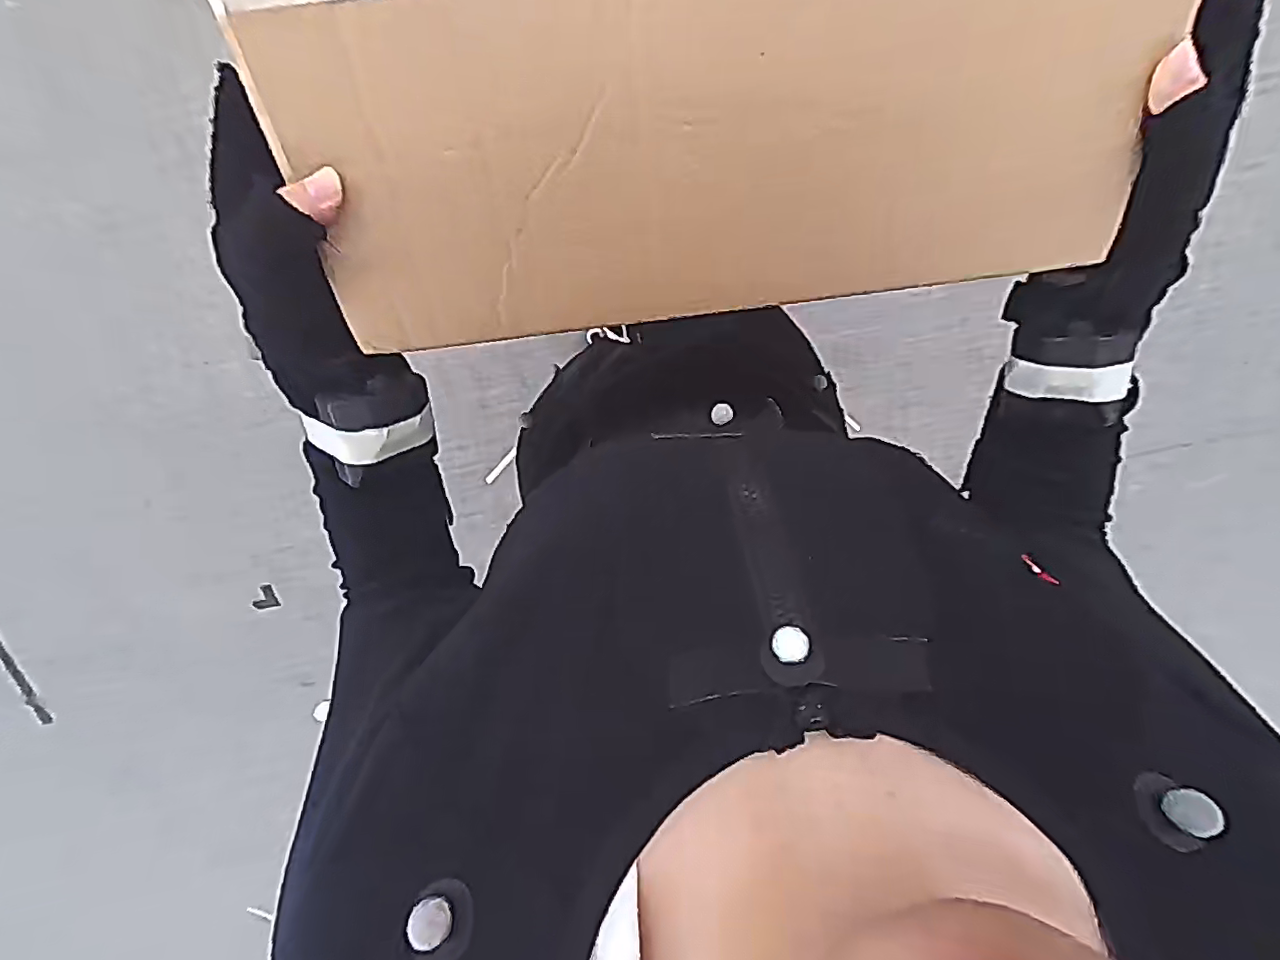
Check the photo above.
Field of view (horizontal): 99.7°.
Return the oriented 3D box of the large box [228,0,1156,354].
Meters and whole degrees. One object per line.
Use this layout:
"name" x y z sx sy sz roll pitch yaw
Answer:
"large box" 0.020 -0.307 0.338 0.408 0.320 0.320 -7 124 1
